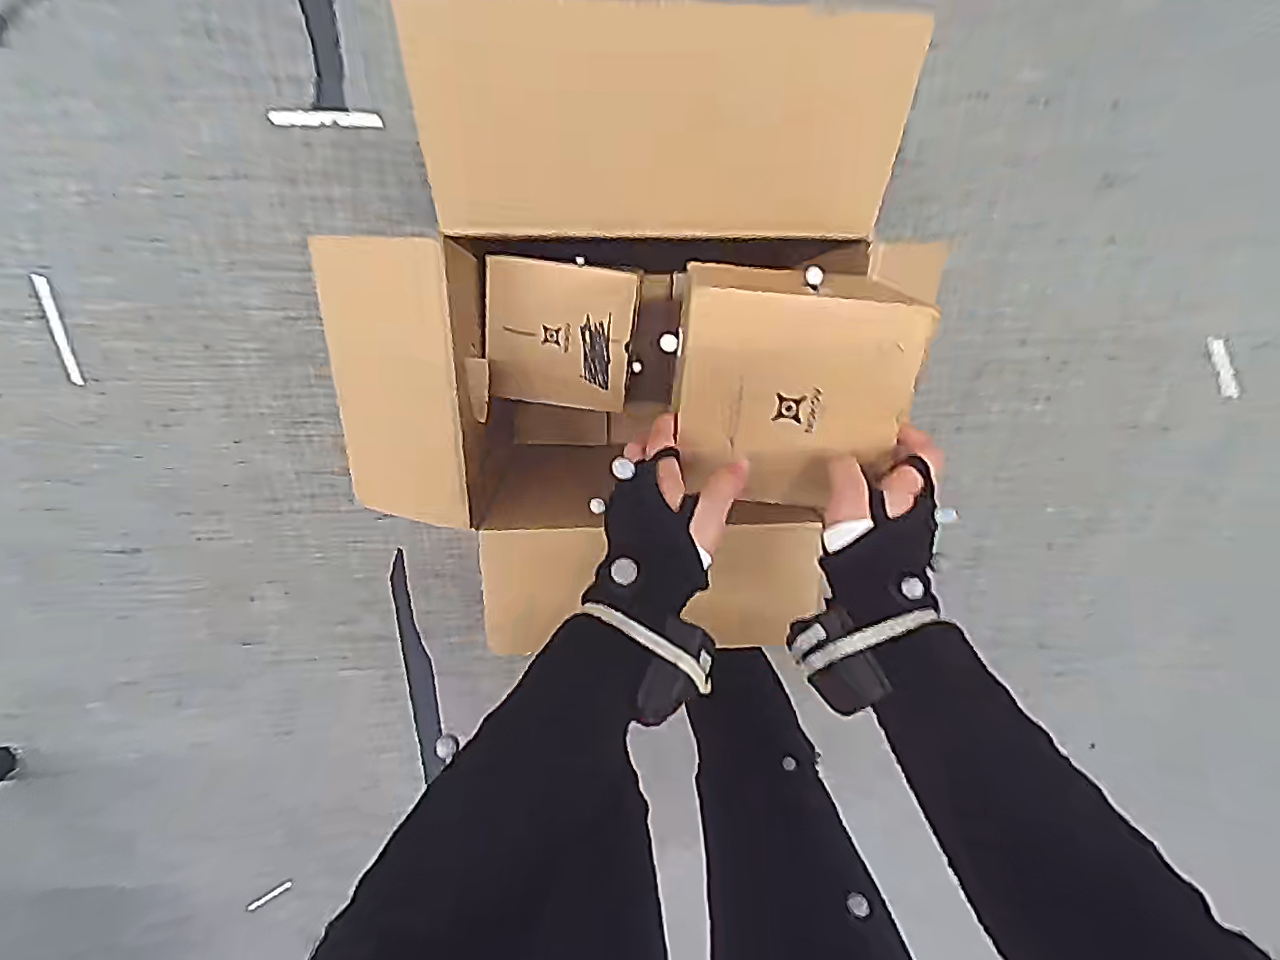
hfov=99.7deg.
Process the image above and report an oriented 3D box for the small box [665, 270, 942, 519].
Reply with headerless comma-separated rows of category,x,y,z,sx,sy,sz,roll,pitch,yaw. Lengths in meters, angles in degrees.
small box,0.117,-0.084,0.474,0.179,0.176,0.168,6,117,1
